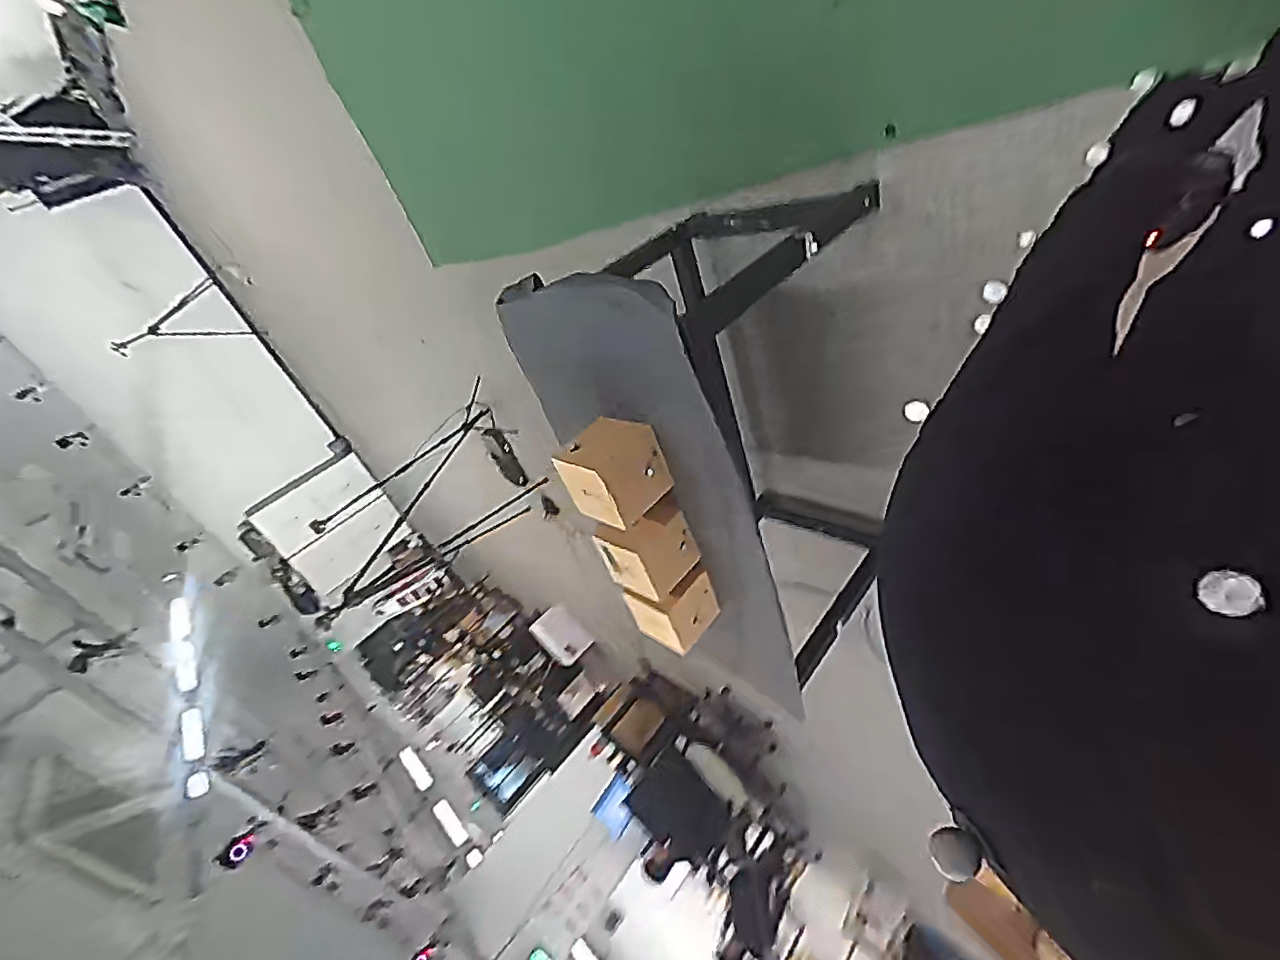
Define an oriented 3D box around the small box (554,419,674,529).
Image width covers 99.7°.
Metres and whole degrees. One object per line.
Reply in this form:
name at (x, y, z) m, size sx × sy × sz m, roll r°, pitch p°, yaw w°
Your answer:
small box at (-0.055, -0.021, 1.212) m, size 0.179 × 0.176 × 0.168 m, roll 16°, pitch 139°, yaw 46°
